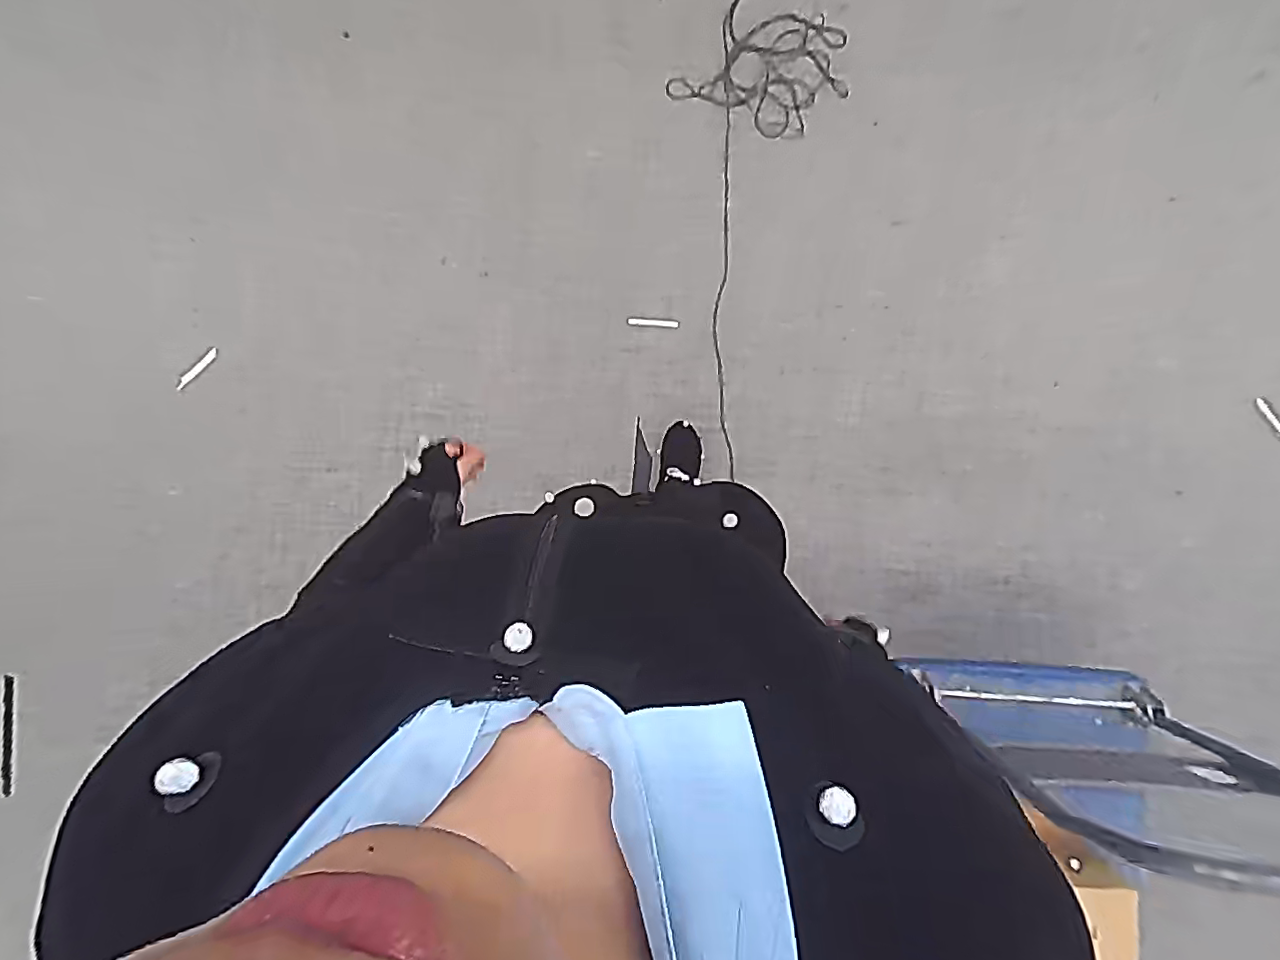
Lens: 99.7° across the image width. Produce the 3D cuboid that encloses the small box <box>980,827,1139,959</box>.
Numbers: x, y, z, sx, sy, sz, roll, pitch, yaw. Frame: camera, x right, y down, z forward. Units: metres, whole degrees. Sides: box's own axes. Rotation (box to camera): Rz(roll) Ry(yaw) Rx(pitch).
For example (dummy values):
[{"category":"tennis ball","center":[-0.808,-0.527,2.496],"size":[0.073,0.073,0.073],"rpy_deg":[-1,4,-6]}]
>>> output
[{"category":"small box","center":[0.778,0.786,1.017],"size":[0.179,0.176,0.168],"rpy_deg":[0,91,4]}]

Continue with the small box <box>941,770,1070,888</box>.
[{"category":"small box","center":[0.790,0.757,1.180],"size":[0.179,0.176,0.168],"rpy_deg":[-1,91,4]}]
